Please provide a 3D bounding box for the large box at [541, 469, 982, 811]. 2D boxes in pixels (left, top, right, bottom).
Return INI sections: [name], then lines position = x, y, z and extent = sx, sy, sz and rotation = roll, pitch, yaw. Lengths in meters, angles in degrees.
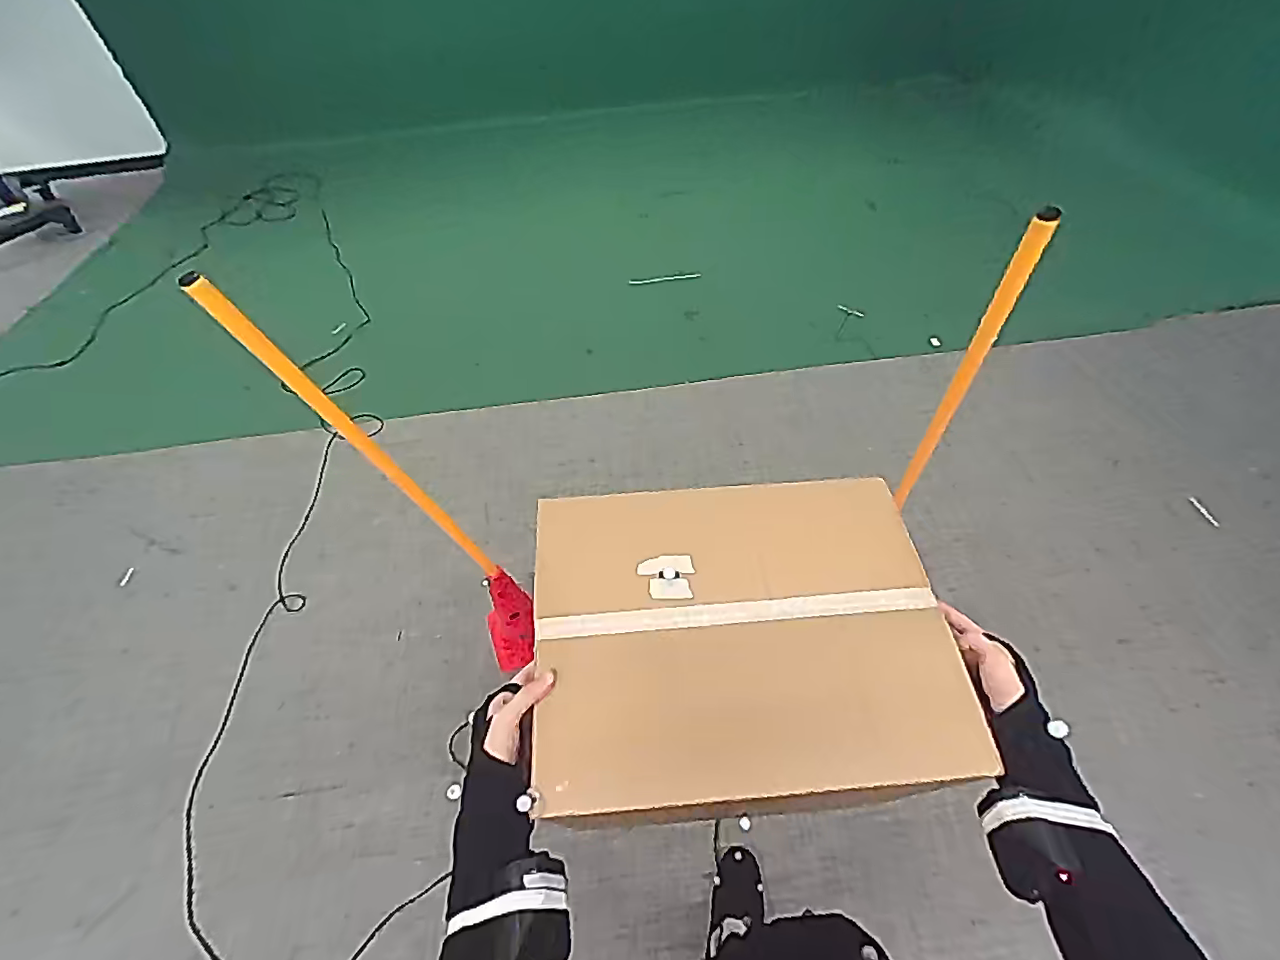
[large box]
position = 0.102, 0.213, 0.681
extent = 0.408, 0.320, 0.320
rotation = -5, 56, -2
